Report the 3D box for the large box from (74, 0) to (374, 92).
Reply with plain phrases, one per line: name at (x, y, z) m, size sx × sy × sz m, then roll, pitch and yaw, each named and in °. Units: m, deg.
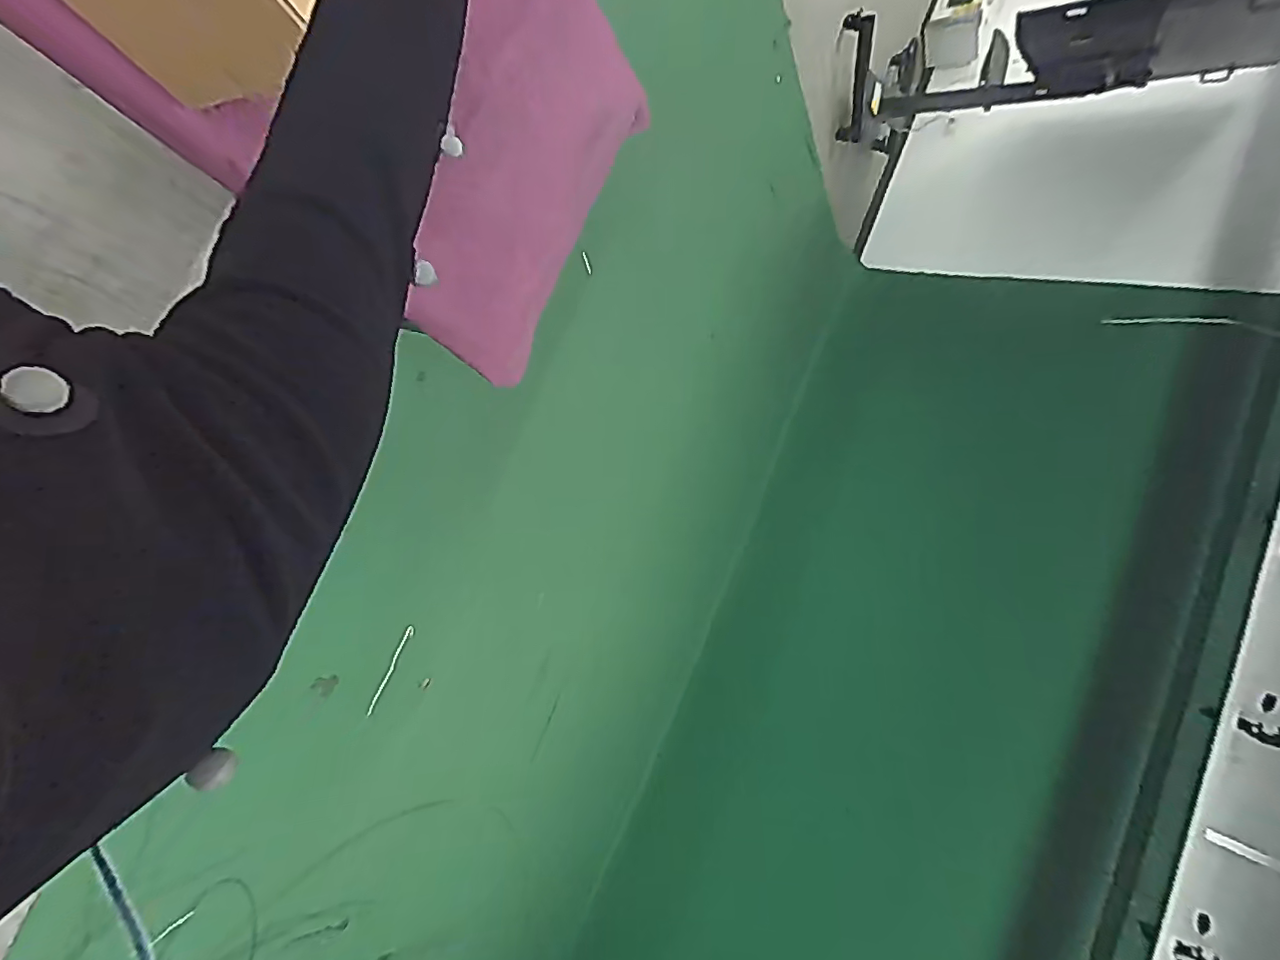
large box at (-0.338, -0.591, 0.399) m, size 0.320 × 0.320 × 0.408 m, roll 40°, pitch 73°, yaw -55°
